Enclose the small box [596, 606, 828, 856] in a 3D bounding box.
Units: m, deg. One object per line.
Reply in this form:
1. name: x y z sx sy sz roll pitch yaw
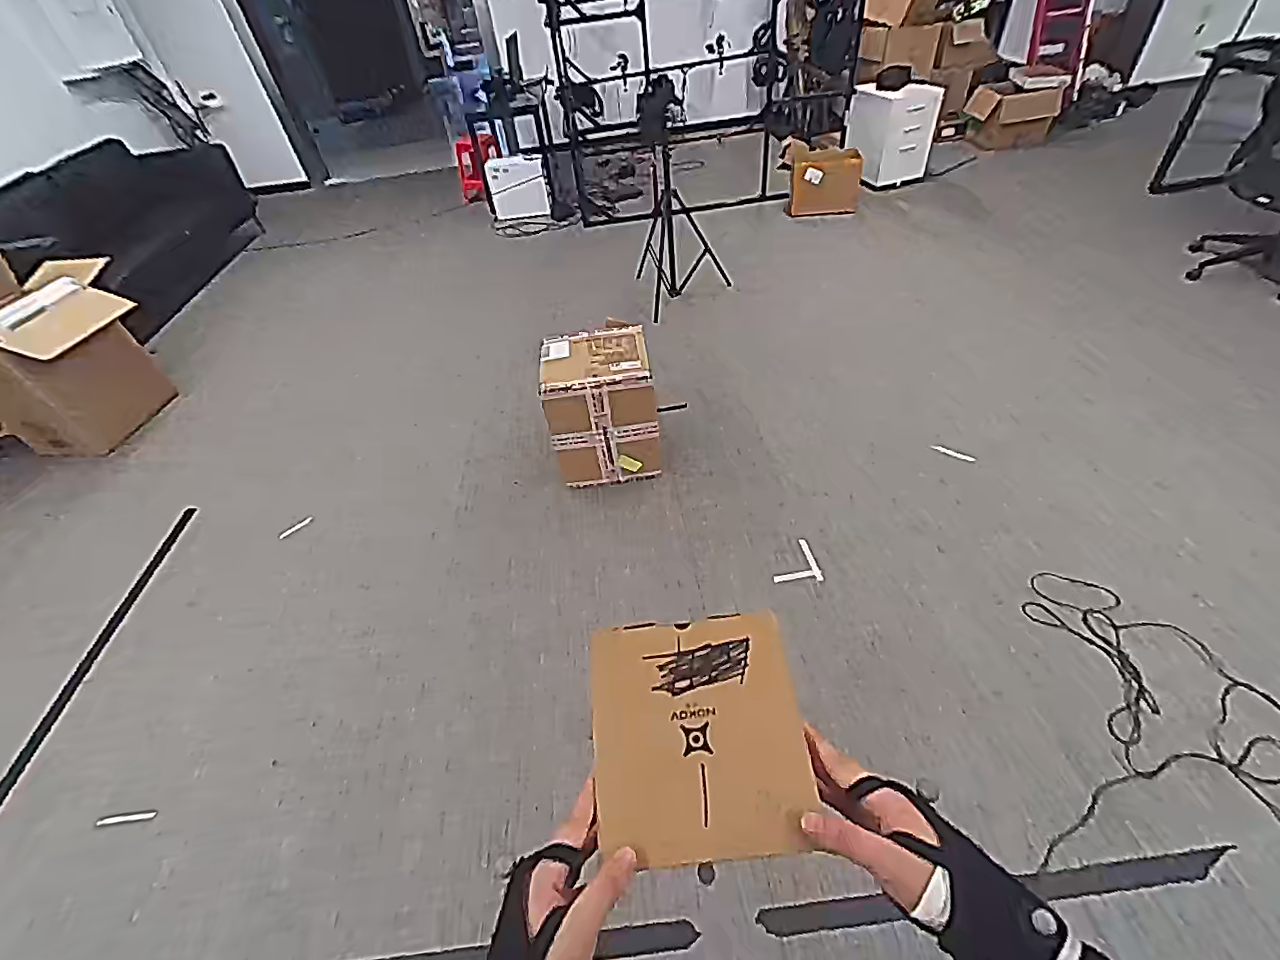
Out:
1. small box: 0.053 0.235 0.498 0.168 0.176 0.179 -7 56 1
